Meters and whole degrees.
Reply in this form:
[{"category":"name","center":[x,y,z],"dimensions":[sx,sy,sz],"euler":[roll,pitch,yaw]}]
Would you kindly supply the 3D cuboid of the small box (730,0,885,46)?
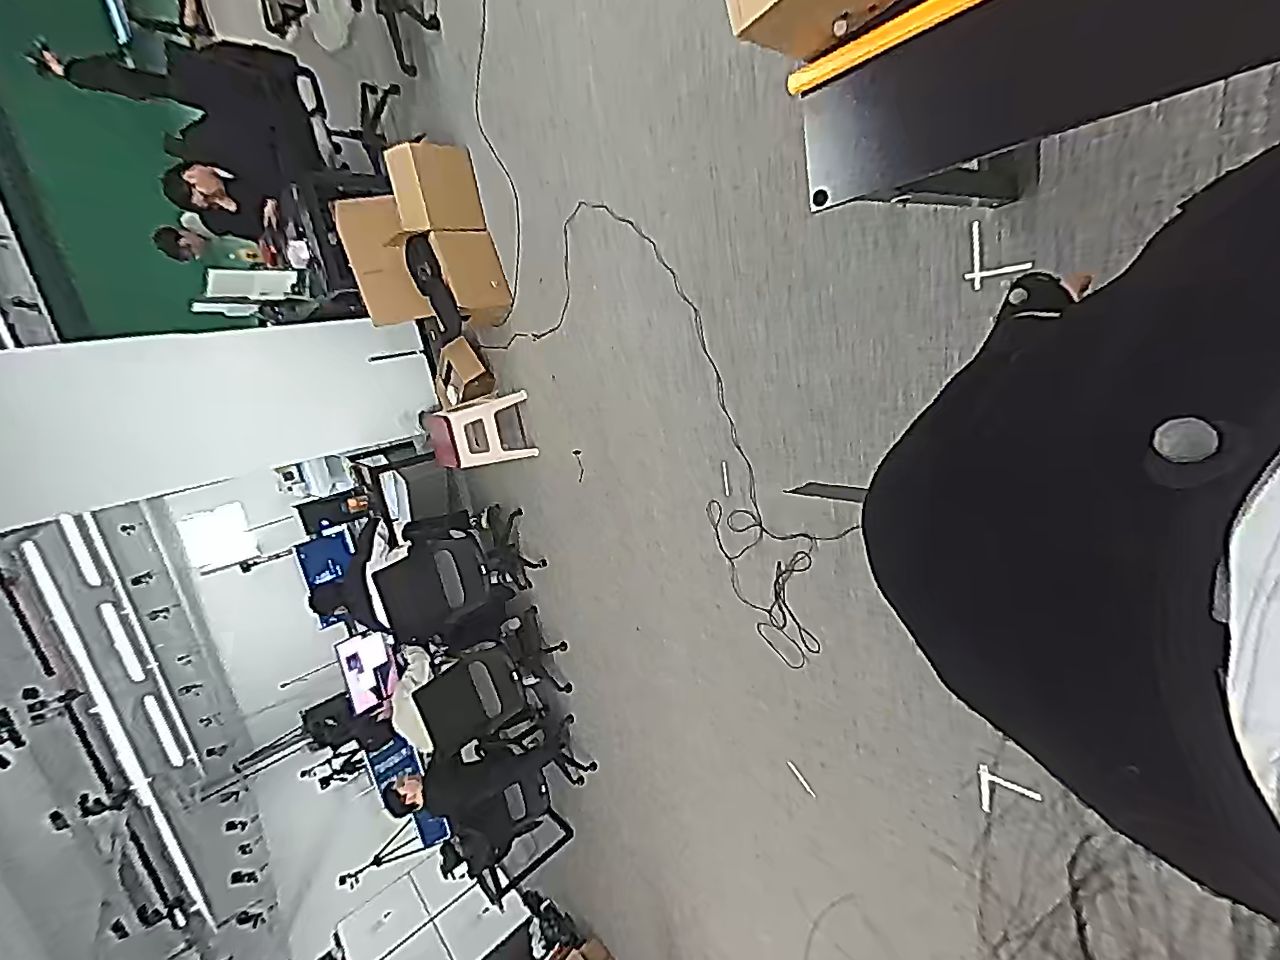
[{"category":"small box","center":[0.205,-0.644,0.612],"dimensions":[0.168,0.176,0.179],"euler":[0,108,51]}]
